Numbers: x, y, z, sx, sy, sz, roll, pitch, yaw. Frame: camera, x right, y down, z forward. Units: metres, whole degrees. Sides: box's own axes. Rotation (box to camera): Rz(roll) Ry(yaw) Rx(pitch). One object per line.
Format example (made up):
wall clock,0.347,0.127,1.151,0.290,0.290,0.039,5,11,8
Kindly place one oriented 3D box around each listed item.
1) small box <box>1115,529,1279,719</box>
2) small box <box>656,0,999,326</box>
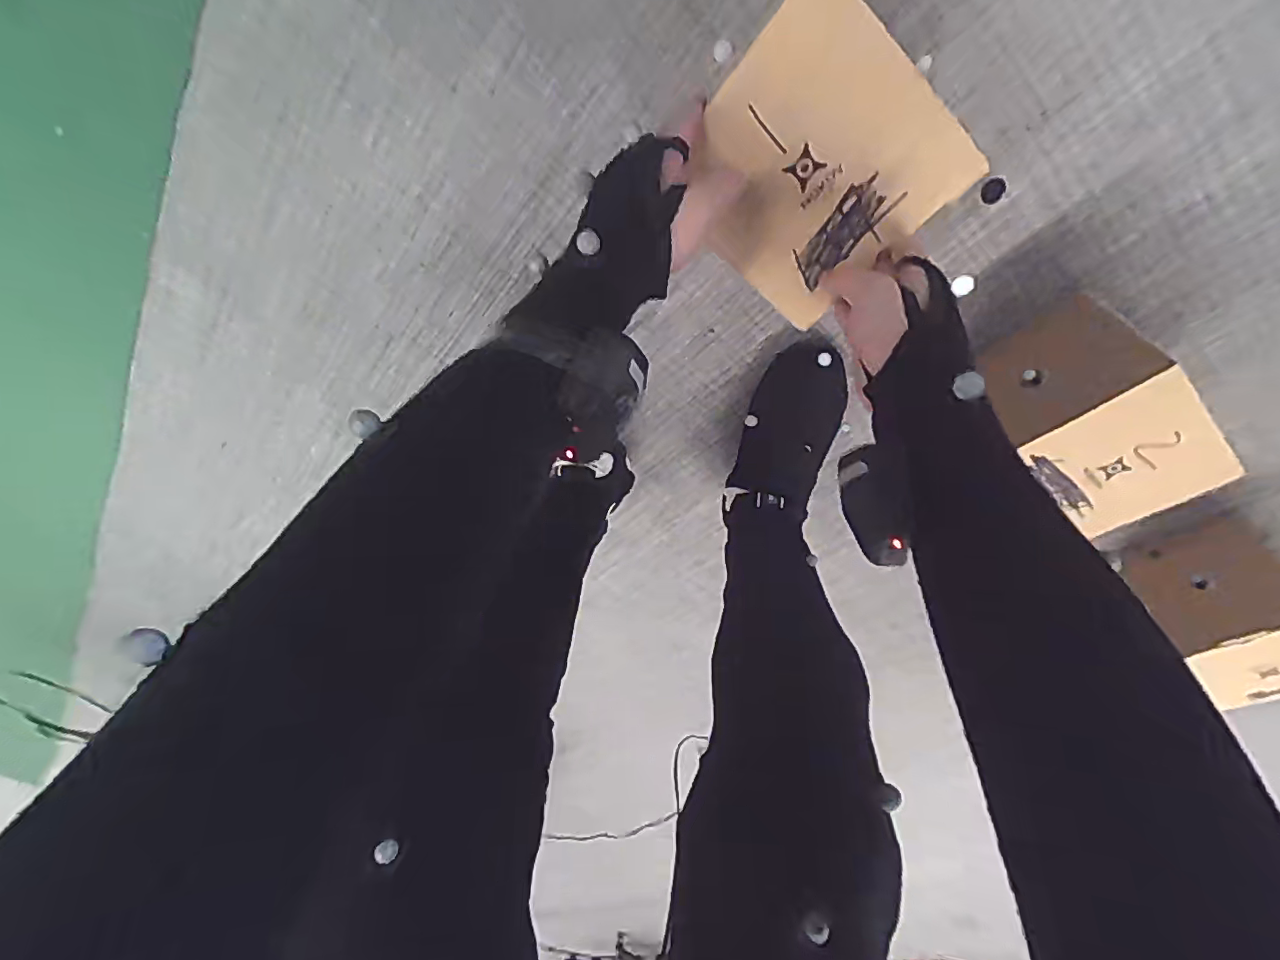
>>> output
small box,0.806,0.190,0.735,0.179,0.176,0.168,38,127,-21
small box,0.139,-0.268,0.440,0.179,0.176,0.168,35,127,-18
